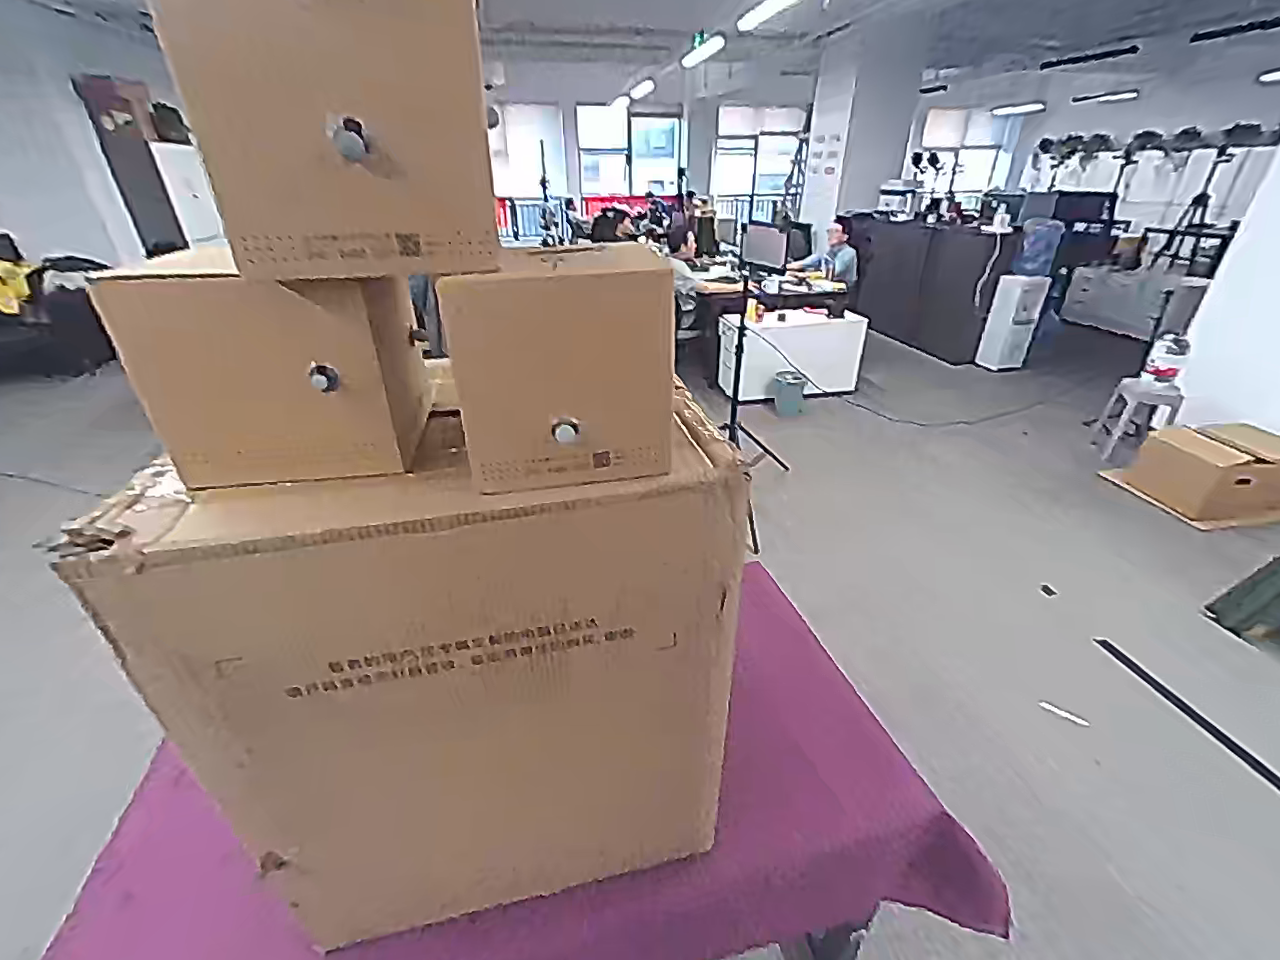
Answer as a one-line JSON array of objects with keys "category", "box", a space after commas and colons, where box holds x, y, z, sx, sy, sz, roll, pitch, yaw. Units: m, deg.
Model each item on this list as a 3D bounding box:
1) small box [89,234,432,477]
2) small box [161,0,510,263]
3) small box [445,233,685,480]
[{"category": "small box", "box": [-0.293, -0.116, 0.476, 0.179, 0.176, 0.168, -5, 29, -10]}, {"category": "small box", "box": [-0.192, -0.255, 0.391, 0.168, 0.176, 0.179, -8, 31, -16]}, {"category": "small box", "box": [-0.063, -0.116, 0.475, 0.168, 0.176, 0.179, -7, 31, -9]}]
